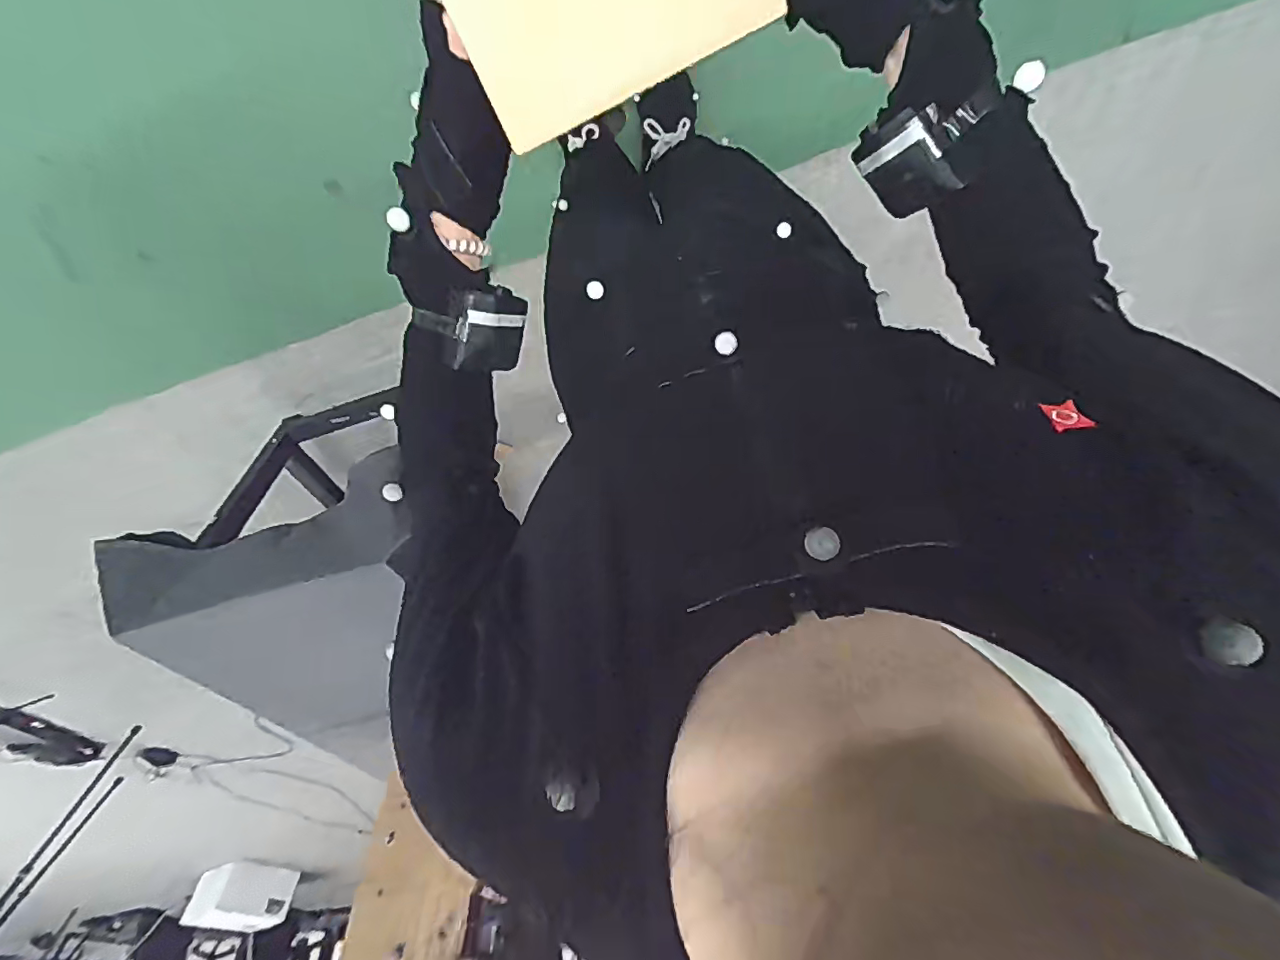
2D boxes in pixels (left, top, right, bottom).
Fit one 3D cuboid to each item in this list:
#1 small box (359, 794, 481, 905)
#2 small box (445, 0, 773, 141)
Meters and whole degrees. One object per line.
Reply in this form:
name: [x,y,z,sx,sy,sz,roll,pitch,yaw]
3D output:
small box: [-0.480,0.820,1.207,0.168,0.176,0.179,-16,131,11]
small box: [-0.036,-0.337,0.323,0.168,0.176,0.179,-21,122,12]
